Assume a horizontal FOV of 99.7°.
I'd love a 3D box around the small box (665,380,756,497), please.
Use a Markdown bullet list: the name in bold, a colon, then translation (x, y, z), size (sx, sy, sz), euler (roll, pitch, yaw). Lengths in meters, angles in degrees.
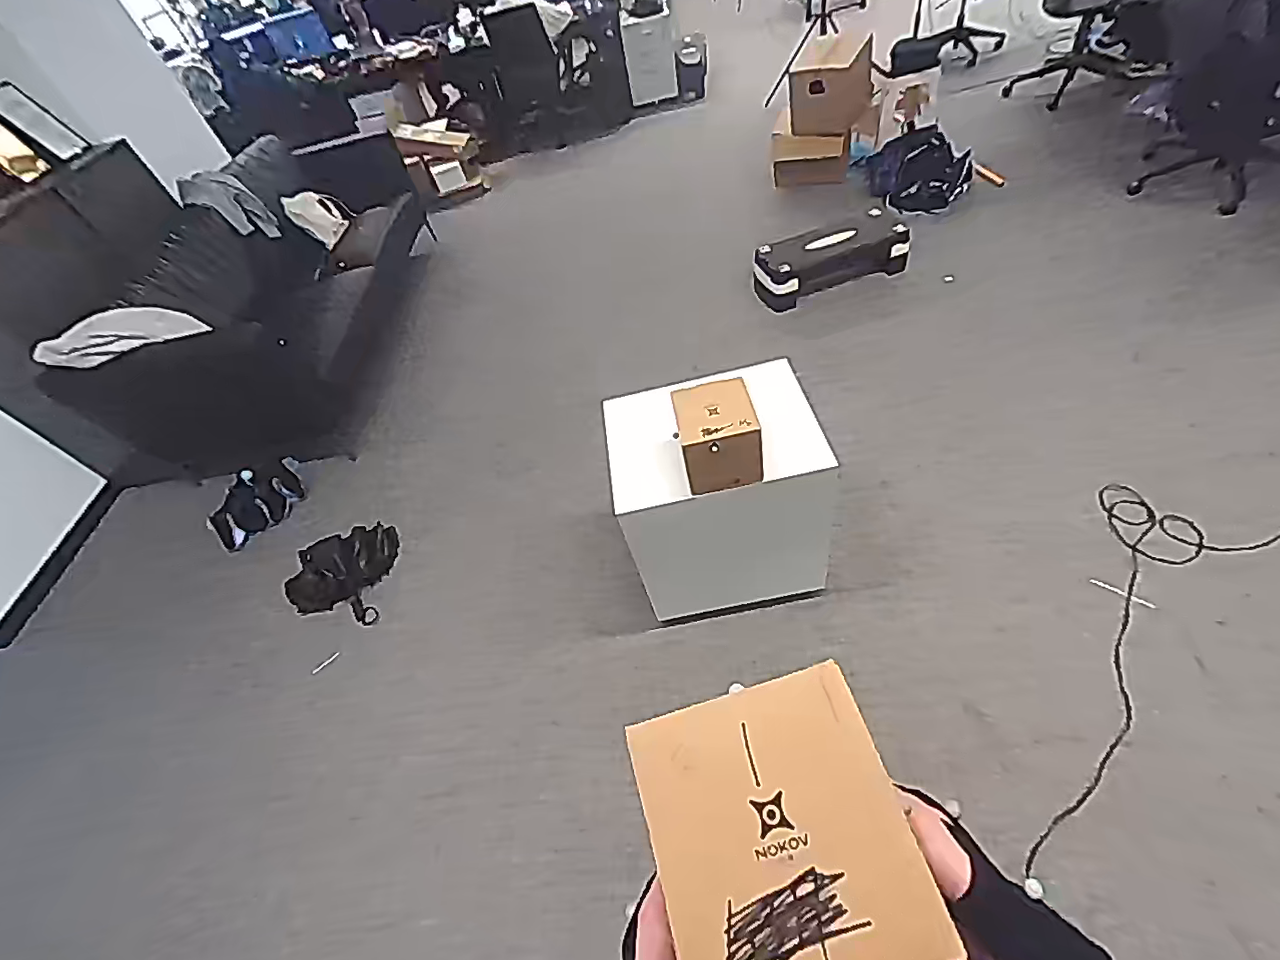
- **small box**: translation (0.157, -0.091, 1.203), size (0.168, 0.176, 0.179), euler (-13, 47, 4)
